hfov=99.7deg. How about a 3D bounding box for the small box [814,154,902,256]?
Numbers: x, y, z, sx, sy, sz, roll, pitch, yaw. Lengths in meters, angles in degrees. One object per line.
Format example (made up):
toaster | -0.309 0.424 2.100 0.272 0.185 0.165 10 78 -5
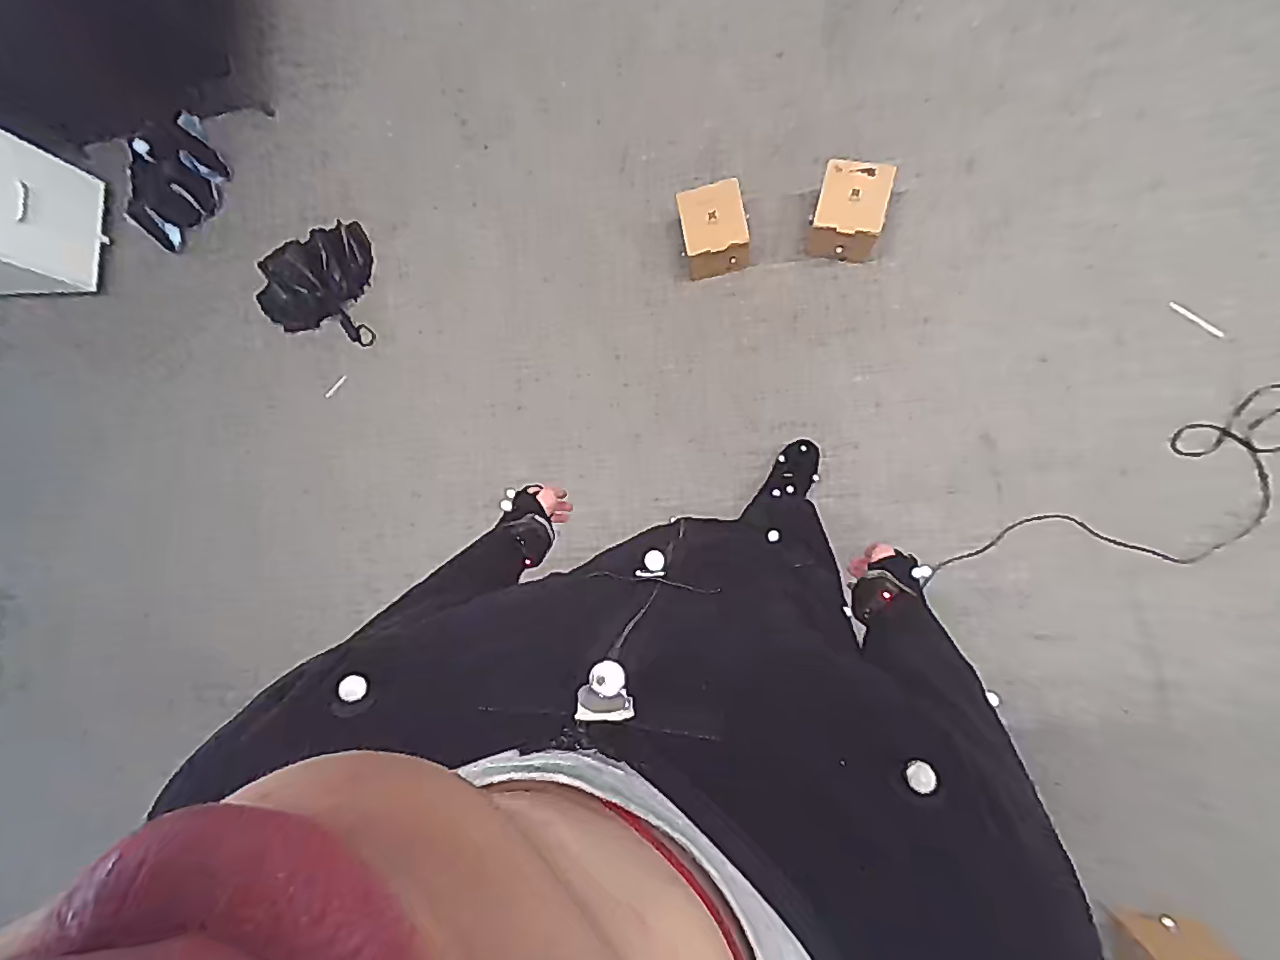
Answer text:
small box | 0.556 -0.706 1.403 0.168 0.176 0.179 14 92 12

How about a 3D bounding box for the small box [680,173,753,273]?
small box | 0.214 -0.687 1.476 0.168 0.176 0.179 -12 85 10
